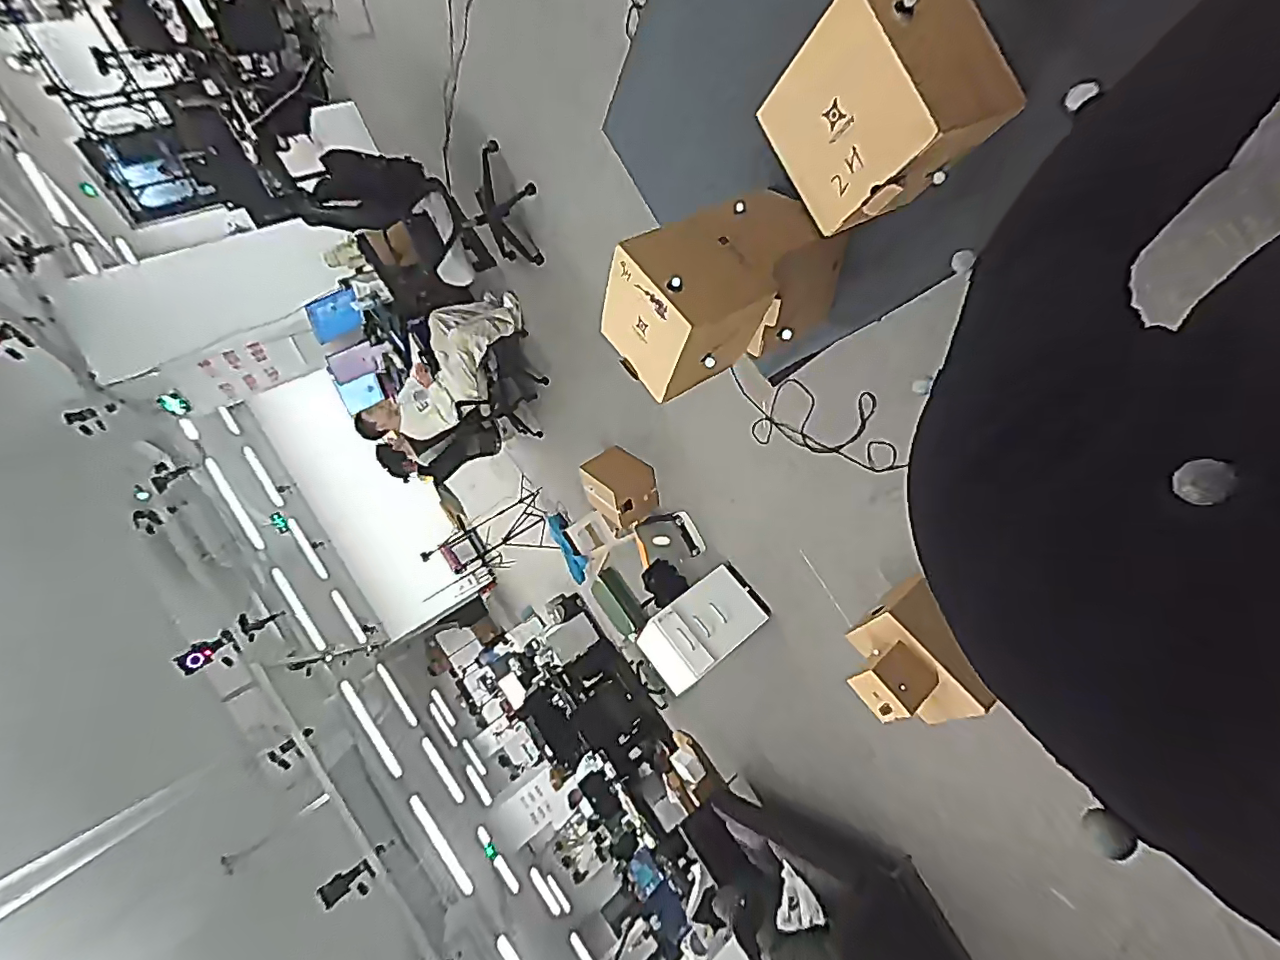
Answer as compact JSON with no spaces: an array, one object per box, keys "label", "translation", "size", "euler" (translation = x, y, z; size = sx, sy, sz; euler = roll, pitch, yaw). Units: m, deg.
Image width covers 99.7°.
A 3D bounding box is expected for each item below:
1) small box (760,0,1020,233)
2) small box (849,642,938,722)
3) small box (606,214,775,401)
[{"label":"small box","translation":[0.279,-0.424,0.617],"size":[0.179,0.176,0.168],"euler":[60,156,-1]},{"label":"small box","translation":[0.855,0.679,1.822],"size":[0.179,0.176,0.168],"euler":[50,152,18]},{"label":"small box","translation":[0.070,-0.256,0.807],"size":[0.168,0.176,0.179],"euler":[52,156,15]}]
